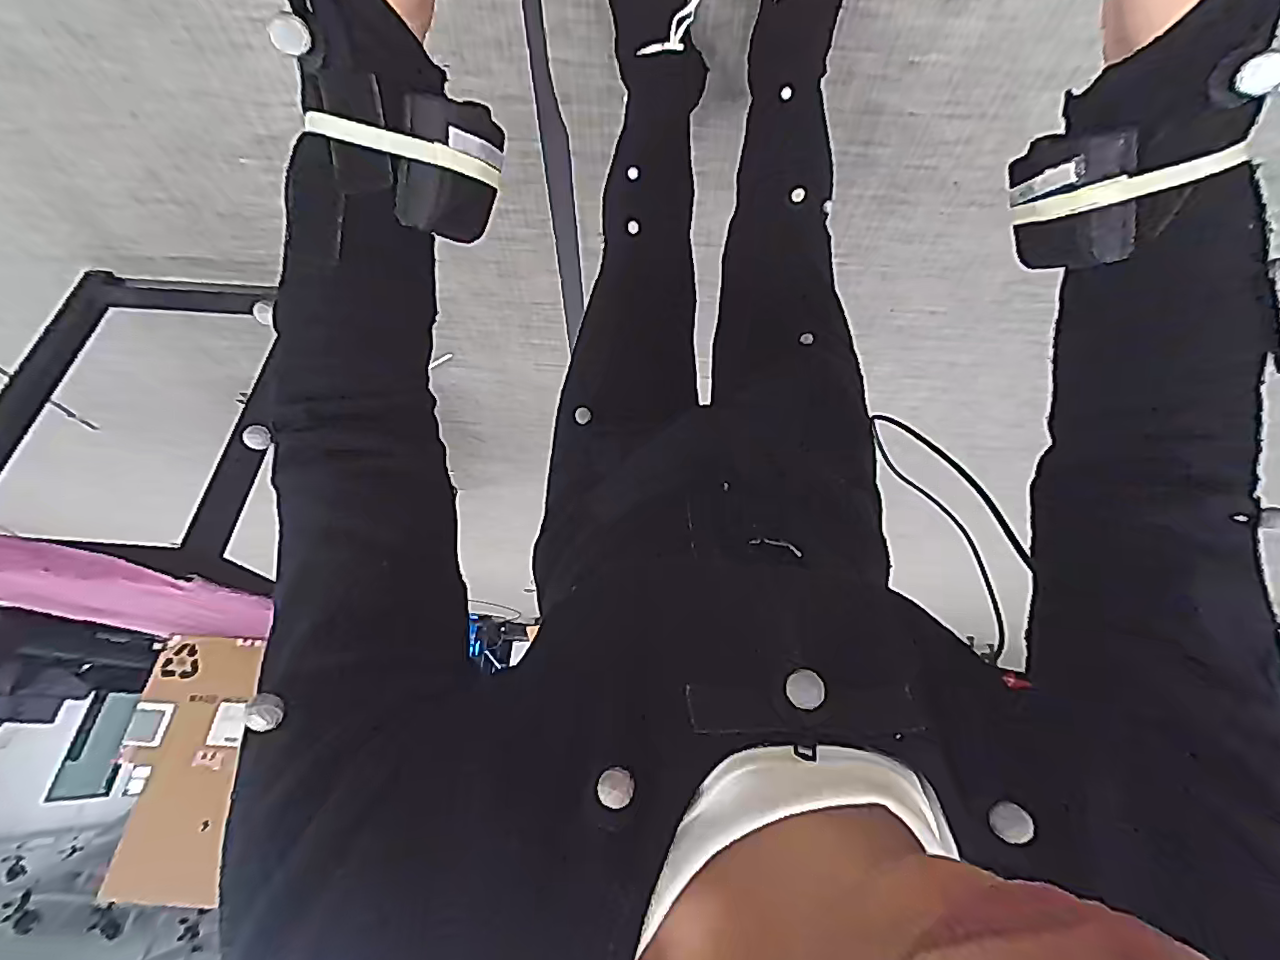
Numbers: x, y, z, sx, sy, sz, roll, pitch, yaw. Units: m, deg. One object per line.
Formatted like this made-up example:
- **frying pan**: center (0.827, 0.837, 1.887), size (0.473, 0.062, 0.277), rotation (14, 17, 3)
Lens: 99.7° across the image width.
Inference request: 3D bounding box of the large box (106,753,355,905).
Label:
- **large box**: center (-1.094, 0.942, 1.501), size (0.408, 0.320, 0.320), rotation (3, 155, 1)
